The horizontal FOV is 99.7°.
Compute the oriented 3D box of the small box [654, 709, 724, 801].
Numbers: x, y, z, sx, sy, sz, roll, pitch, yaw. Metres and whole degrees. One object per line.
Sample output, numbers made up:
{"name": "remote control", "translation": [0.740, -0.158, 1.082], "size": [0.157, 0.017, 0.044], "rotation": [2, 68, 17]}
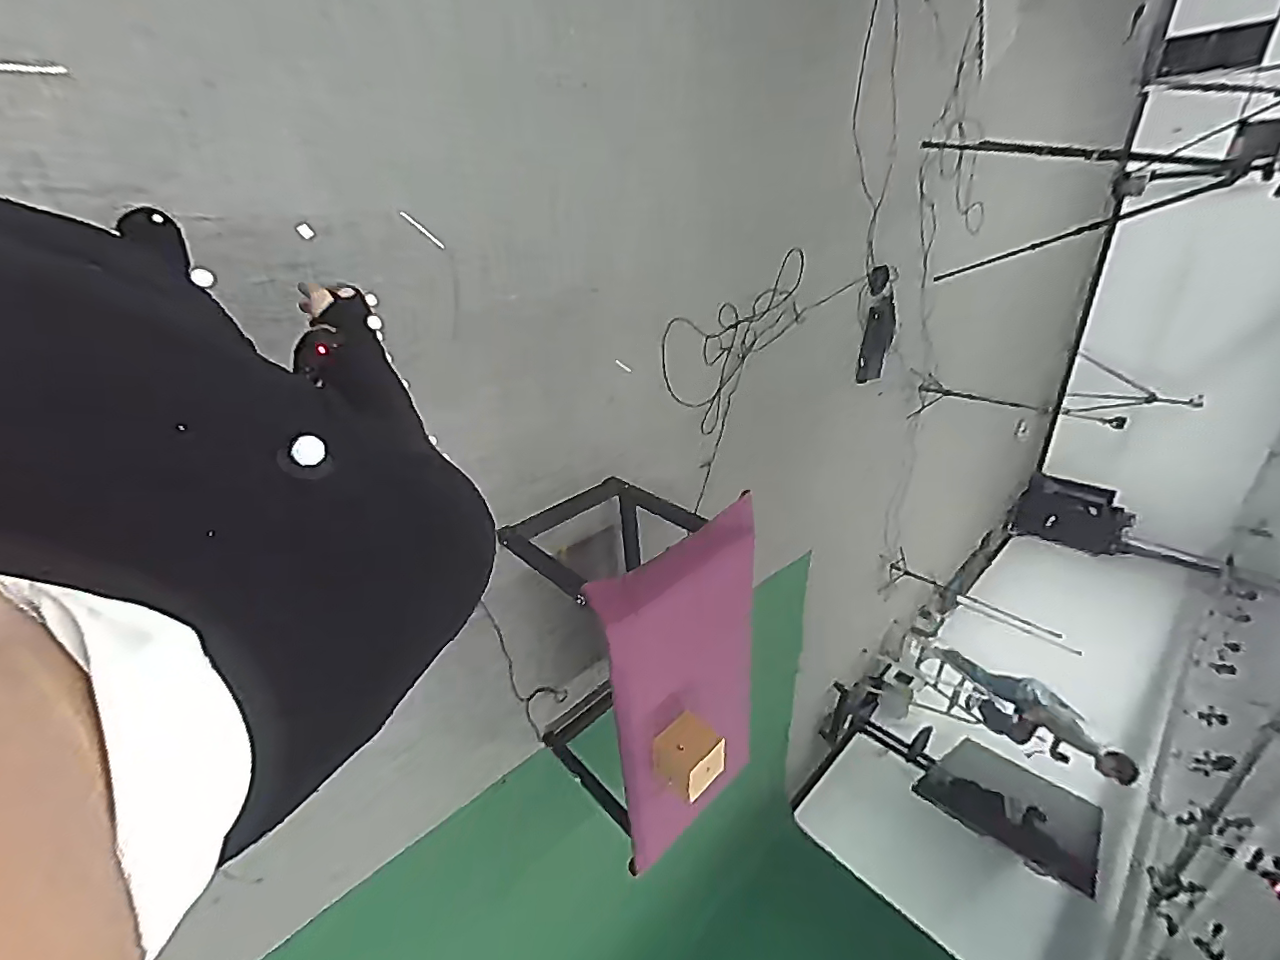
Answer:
{"name": "small box", "translation": [0.160, 0.916, 1.815], "size": [0.179, 0.176, 0.168], "rotation": [-25, 125, -37]}
